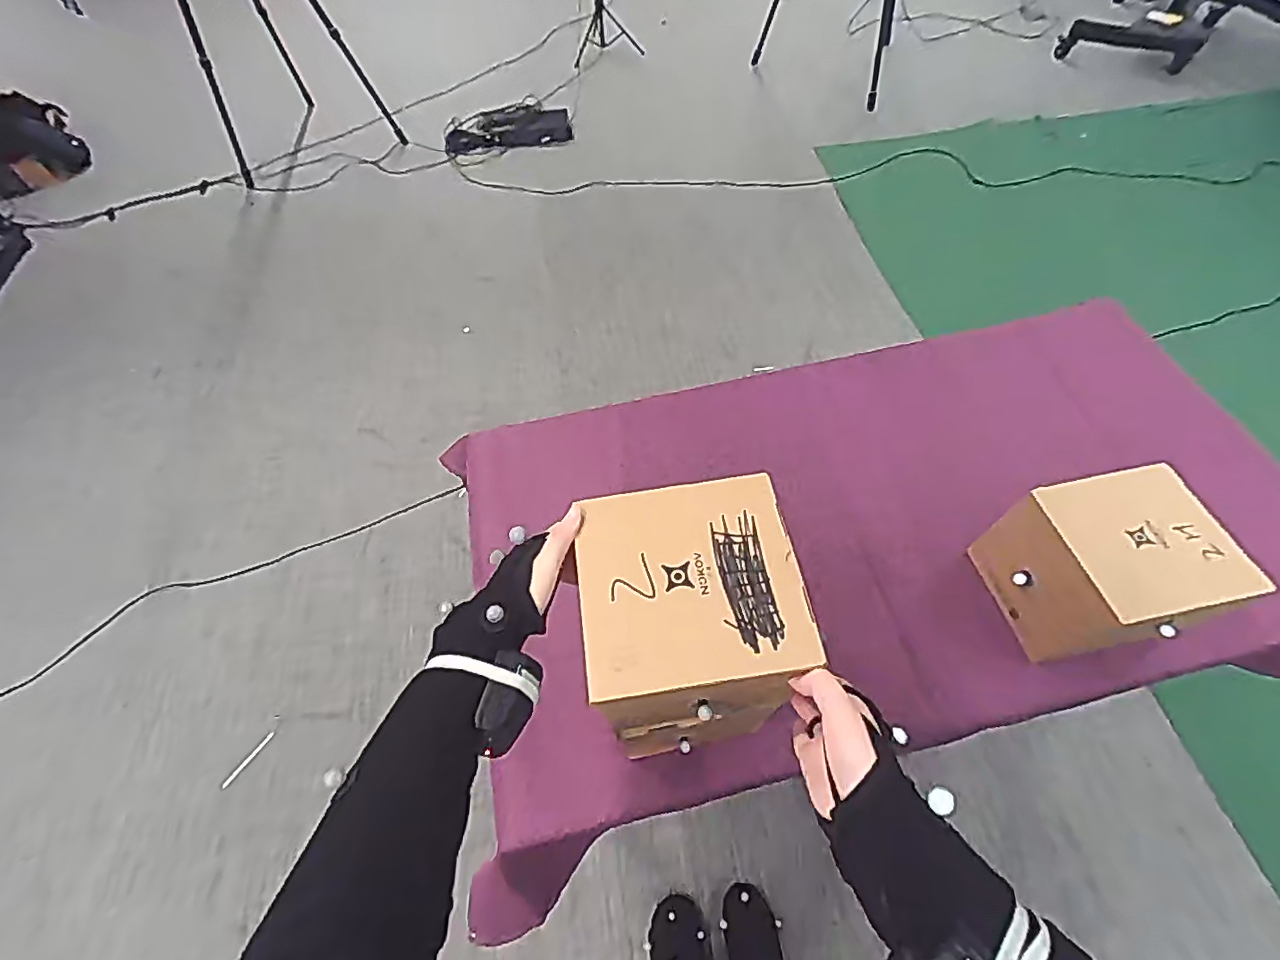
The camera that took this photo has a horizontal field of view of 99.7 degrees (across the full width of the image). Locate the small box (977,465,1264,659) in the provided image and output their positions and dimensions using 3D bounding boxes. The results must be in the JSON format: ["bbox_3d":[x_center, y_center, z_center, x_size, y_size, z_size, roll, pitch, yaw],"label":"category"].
[{"bbox_3d":[0.556,0.108,0.666,0.179,0.176,0.168,-11,58,-4],"label":"small box"}]

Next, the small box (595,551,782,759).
[{"bbox_3d":[0.046,0.208,0.632,0.168,0.176,0.179,-11,58,-4],"label":"small box"}]
